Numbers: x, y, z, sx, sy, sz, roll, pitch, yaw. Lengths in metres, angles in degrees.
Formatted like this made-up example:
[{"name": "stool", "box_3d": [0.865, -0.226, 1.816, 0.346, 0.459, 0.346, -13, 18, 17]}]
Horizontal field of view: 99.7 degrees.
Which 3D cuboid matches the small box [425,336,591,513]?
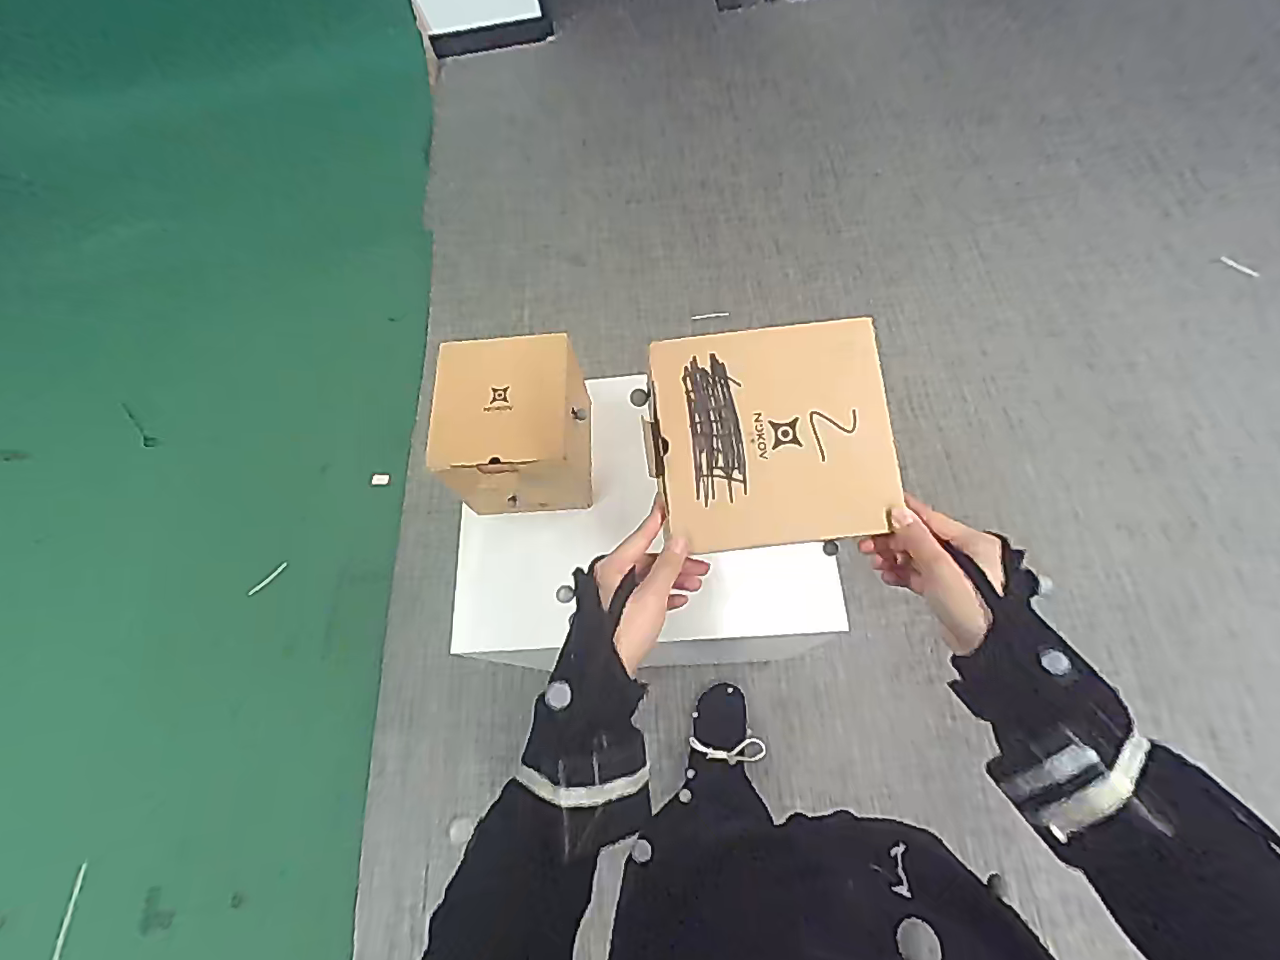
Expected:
[{"name": "small box", "box_3d": [-0.160, -0.067, 0.714, 0.168, 0.176, 0.179, -2, 67, 3]}]
